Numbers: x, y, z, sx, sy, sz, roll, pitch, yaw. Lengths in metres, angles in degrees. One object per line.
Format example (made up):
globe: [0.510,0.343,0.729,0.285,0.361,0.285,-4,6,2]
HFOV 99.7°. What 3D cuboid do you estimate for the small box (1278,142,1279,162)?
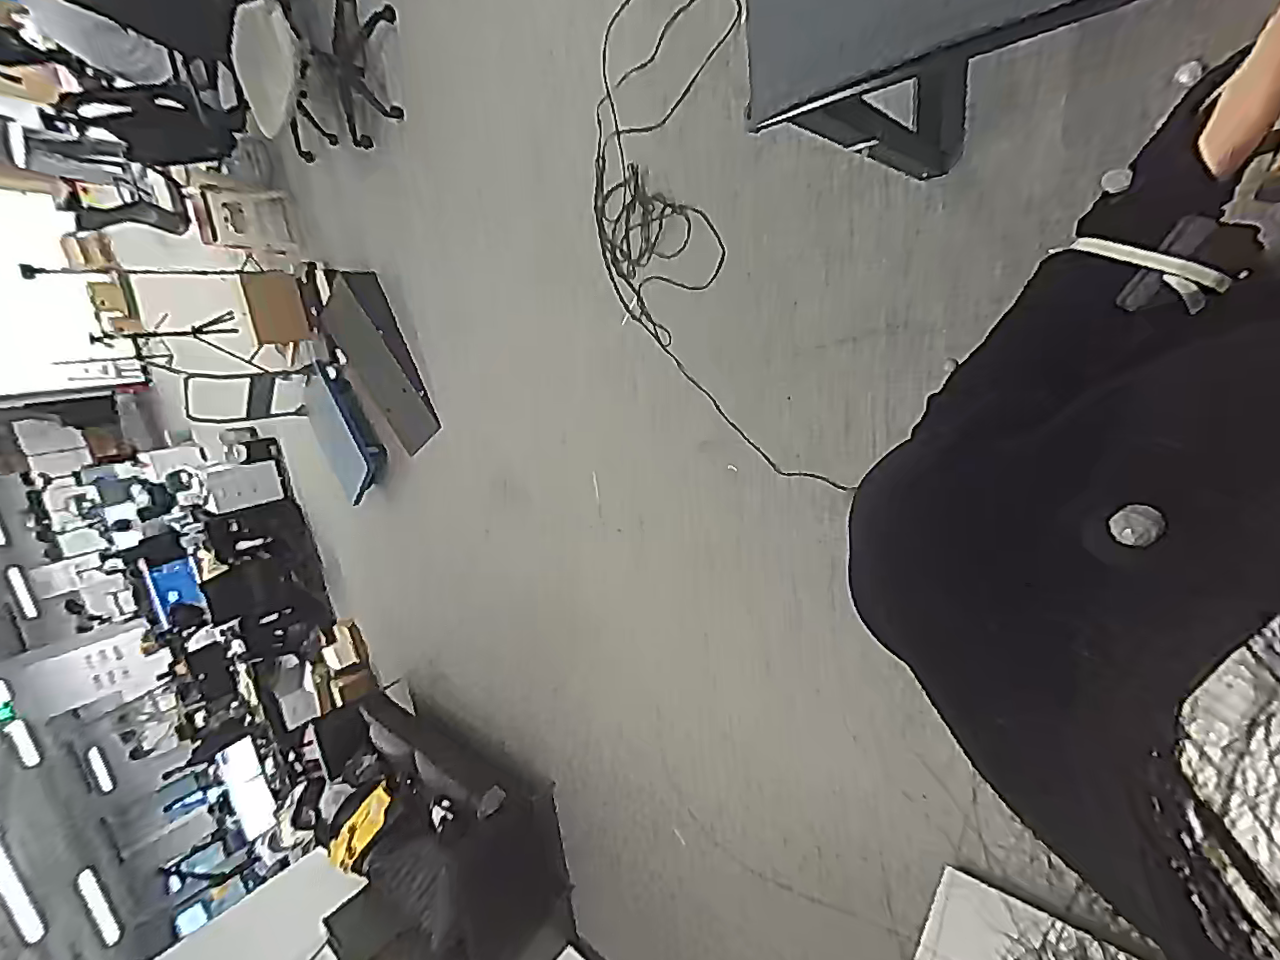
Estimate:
small box: [0.432,-0.238,0.231,0.168,0.176,0.179,24,121,39]
